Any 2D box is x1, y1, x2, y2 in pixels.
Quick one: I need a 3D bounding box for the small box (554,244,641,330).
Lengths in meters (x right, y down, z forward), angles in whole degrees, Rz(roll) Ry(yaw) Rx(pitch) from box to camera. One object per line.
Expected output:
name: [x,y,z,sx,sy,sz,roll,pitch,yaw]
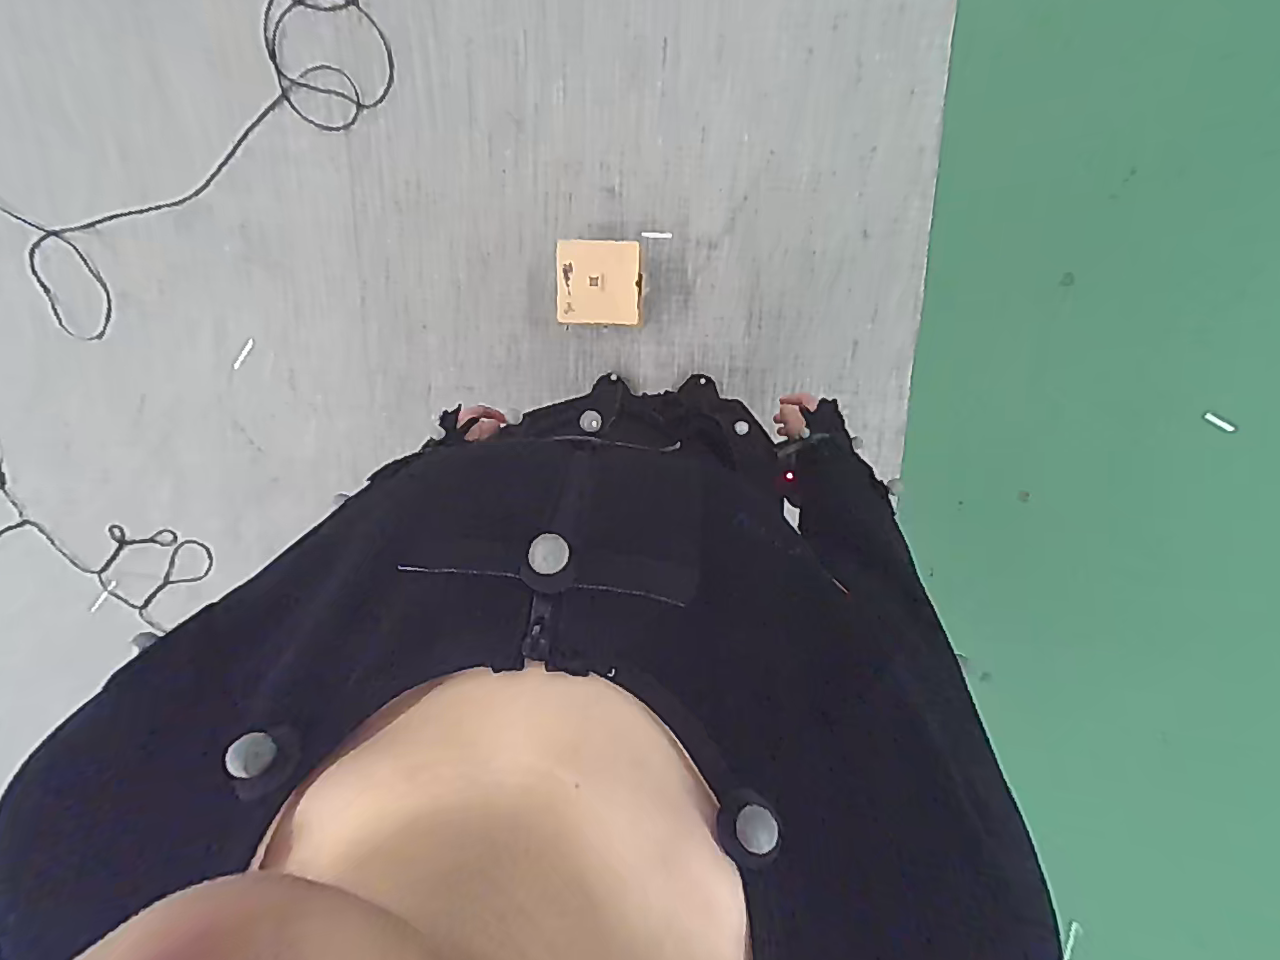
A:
small box: [-0.089,-0.425,1.207,0.179,0.176,0.168,2,104,3]
